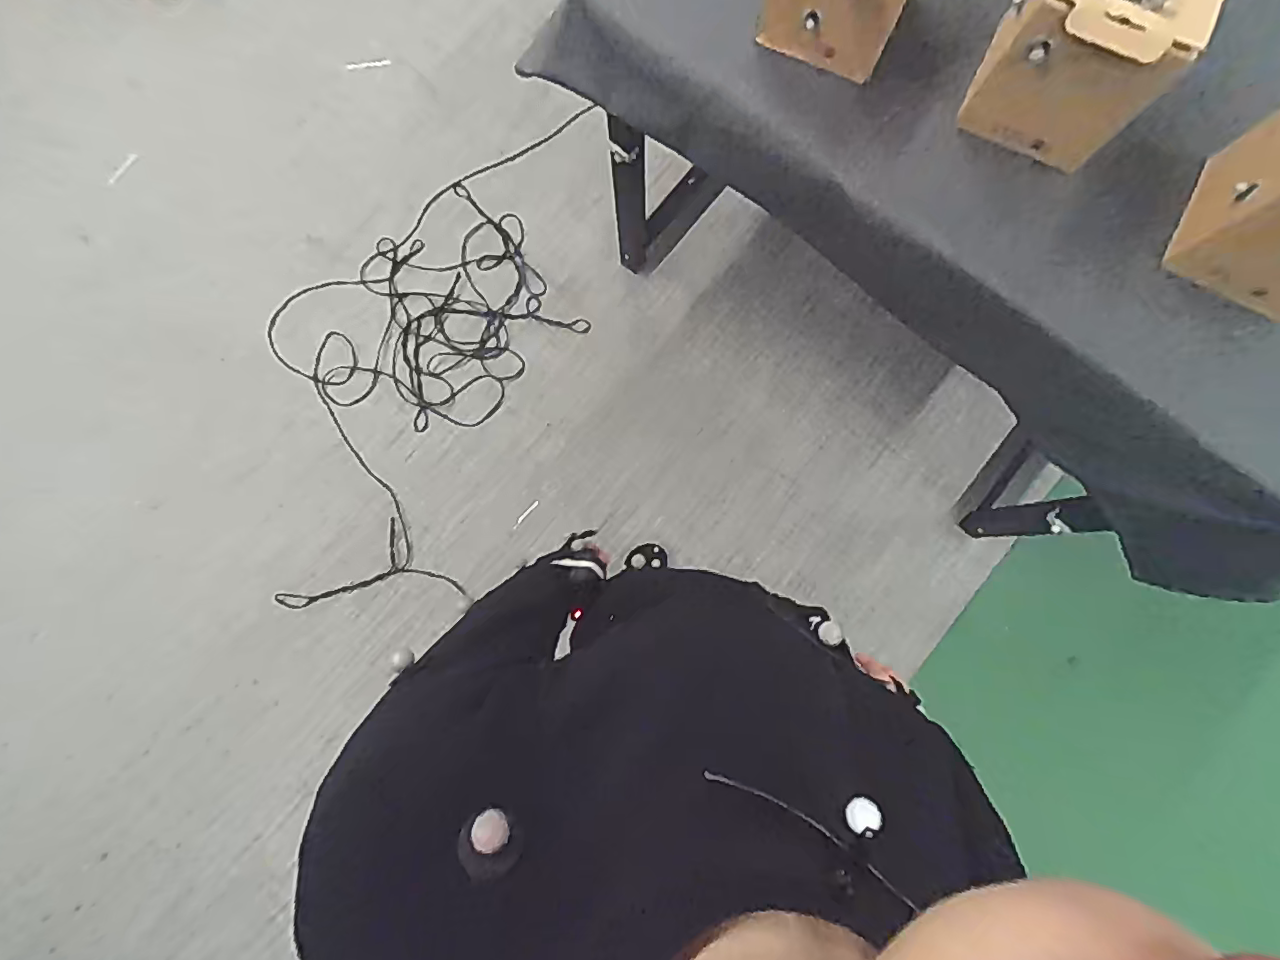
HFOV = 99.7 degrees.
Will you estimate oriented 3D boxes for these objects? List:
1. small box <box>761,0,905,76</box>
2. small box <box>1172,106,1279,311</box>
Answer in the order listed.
[{"bbox_3d":[0.264,-0.657,0.659,0.168,0.176,0.179,24,84,3],"label":"small box"},{"bbox_3d":[0.772,-0.323,0.609,0.168,0.176,0.179,28,82,3],"label":"small box"}]
